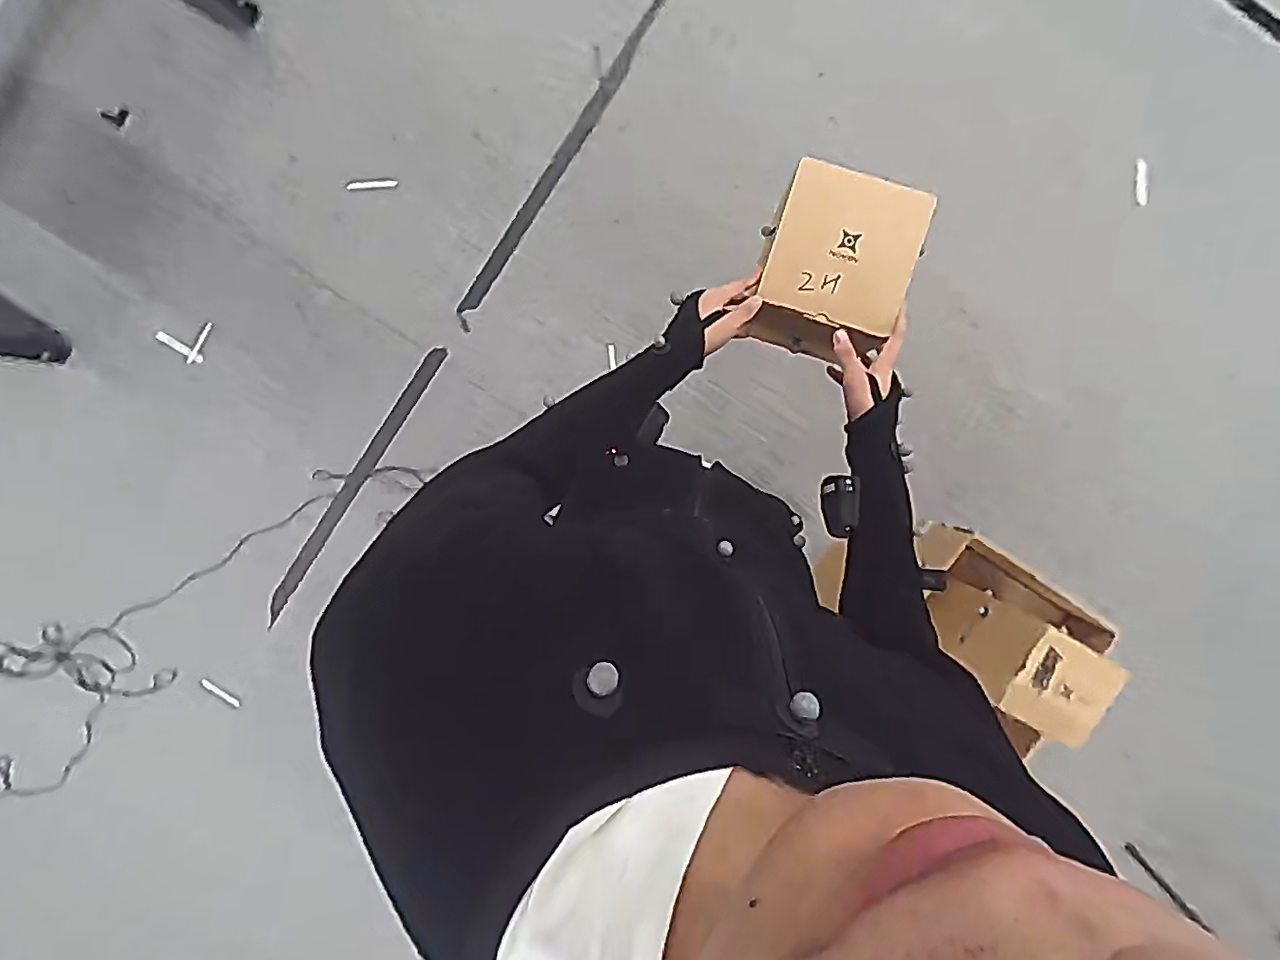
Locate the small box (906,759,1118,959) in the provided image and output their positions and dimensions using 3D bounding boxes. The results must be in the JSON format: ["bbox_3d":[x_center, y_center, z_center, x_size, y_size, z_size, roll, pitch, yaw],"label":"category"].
[{"bbox_3d":[0.569,0.585,0.854,0.179,0.176,0.168,33,94,-1],"label":"small box"}]

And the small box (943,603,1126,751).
[{"bbox_3d":[0.710,0.349,0.997,0.179,0.176,0.168,30,95,-4],"label":"small box"}]

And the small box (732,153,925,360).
[{"bbox_3d":[0.228,-0.274,0.703,0.168,0.176,0.179,18,93,1],"label":"small box"}]
